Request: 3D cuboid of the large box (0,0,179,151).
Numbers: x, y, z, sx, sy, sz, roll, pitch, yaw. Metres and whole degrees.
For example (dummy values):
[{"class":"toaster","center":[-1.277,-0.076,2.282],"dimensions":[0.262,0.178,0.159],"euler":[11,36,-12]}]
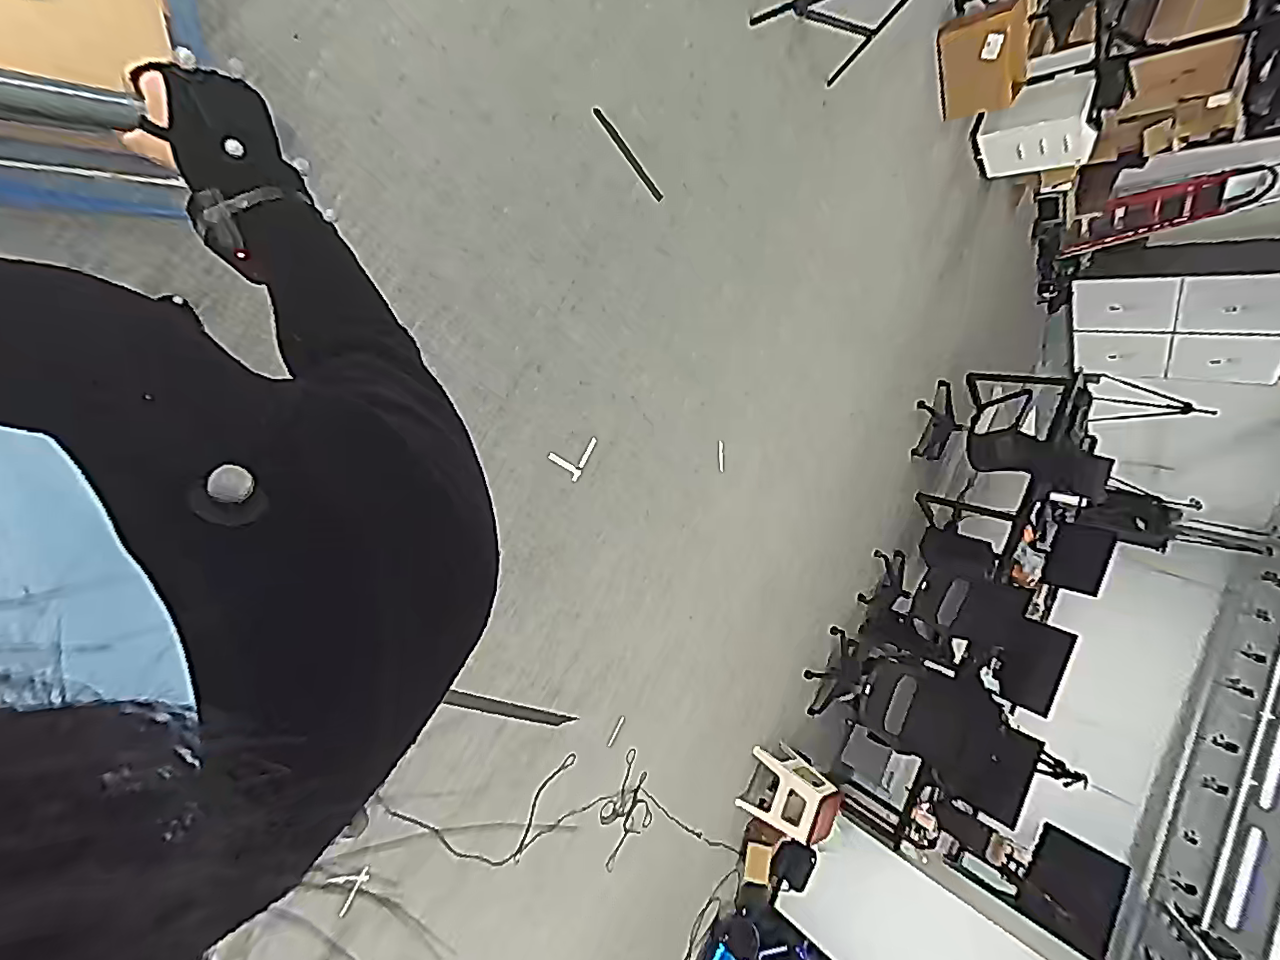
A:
[{"class":"large box","center":[-0.874,-0.637,0.659],"dimensions":[0.408,0.320,0.320],"euler":[-17,114,-42]}]
